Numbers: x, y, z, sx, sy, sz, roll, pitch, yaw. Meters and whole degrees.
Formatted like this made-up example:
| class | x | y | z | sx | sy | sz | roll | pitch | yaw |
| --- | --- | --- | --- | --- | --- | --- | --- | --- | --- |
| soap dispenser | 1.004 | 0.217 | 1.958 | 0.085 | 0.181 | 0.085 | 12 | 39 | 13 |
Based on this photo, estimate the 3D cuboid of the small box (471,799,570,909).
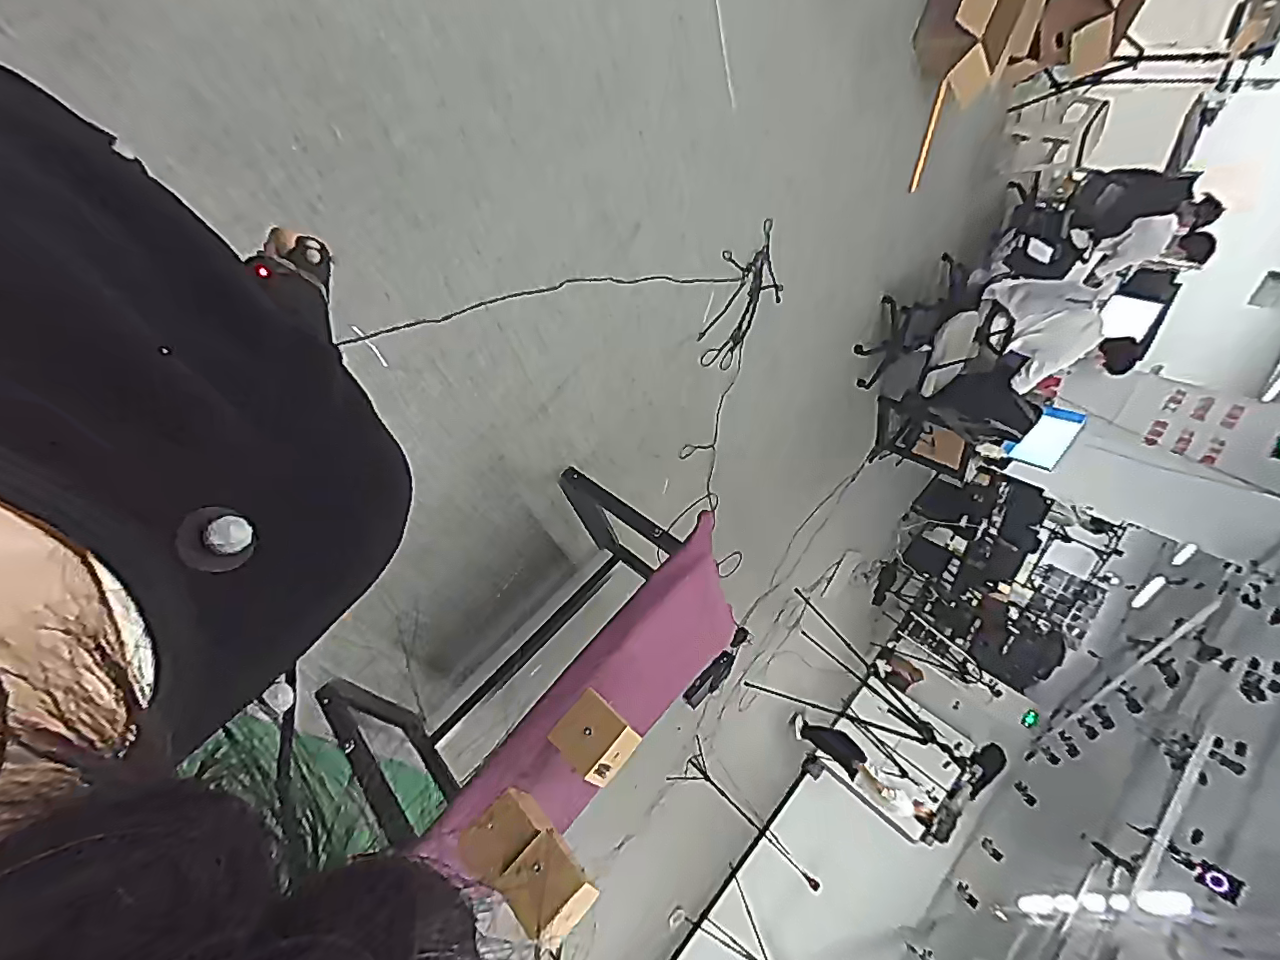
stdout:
| class | x | y | z | sx | sy | sz | roll | pitch | yaw |
| --- | --- | --- | --- | --- | --- | --- | --- | --- | --- |
| small box | -0.327 | 1.005 | 1.455 | 0.179 | 0.176 | 0.168 | -45 | 142 | -18 |

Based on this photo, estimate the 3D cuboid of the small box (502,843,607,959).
| class | x | y | z | sx | sy | sz | roll | pitch | yaw |
| --- | --- | --- | --- | --- | --- | --- | --- | --- | --- |
| small box | -0.211 | 1.052 | 1.348 | 0.168 | 0.176 | 0.179 | -40 | 139 | -24 |
